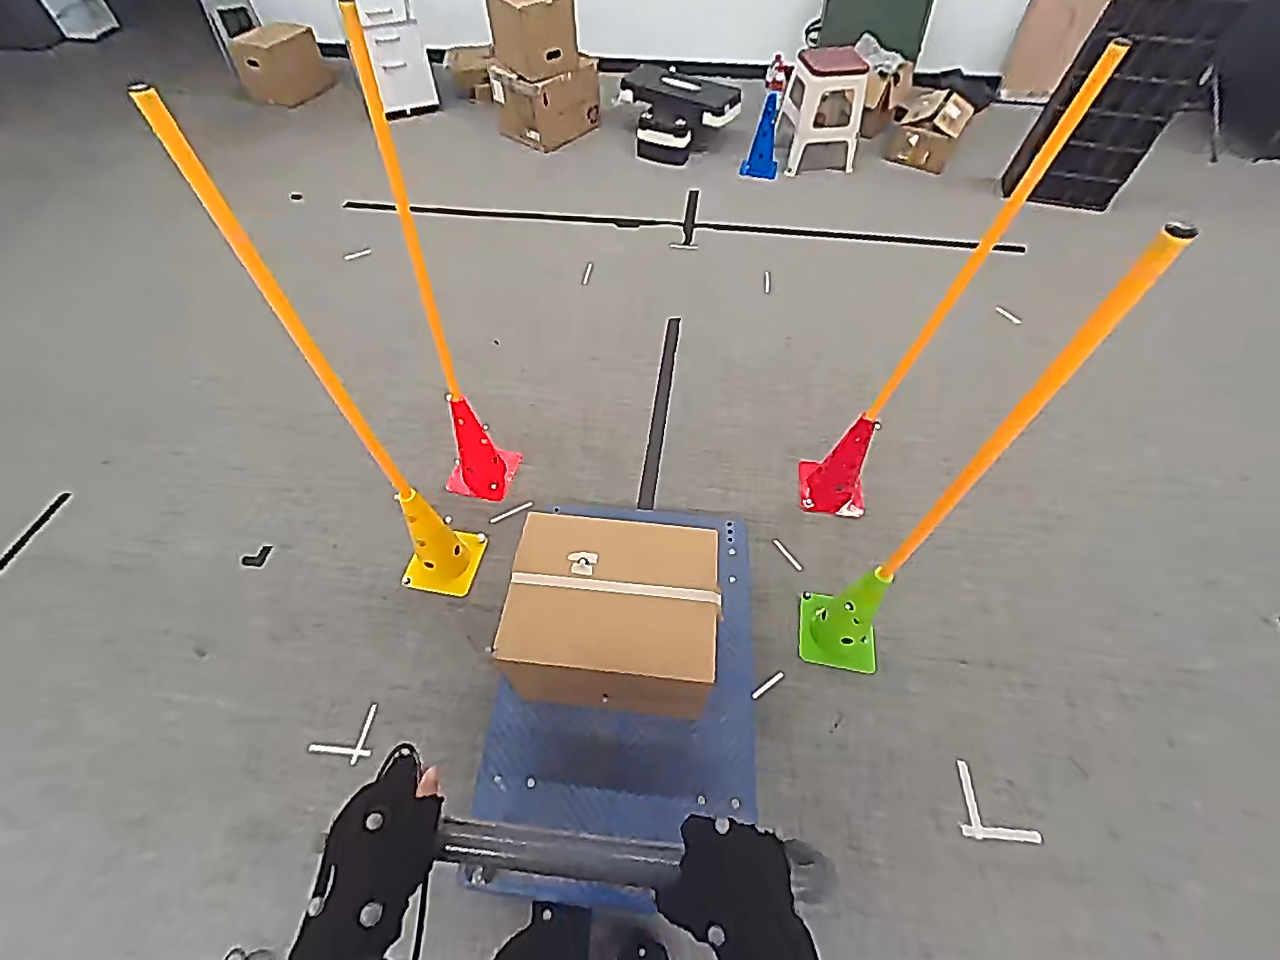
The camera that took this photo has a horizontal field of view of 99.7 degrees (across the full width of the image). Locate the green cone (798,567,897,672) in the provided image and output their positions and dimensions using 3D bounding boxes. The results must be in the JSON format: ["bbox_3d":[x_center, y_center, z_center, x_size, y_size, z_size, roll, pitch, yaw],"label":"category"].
[{"bbox_3d":[0.543,0.316,1.348,0.202,0.368,0.200,10,55,5],"label":"green cone"}]

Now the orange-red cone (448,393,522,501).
[{"bbox_3d":[-0.506,-0.129,1.652,0.198,0.360,0.199,13,54,7],"label":"orange-red cone"}]

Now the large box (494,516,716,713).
[{"bbox_3d":[-0.051,0.300,1.176,0.408,0.320,0.320,5,55,4],"label":"large box"}]

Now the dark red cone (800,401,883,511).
[{"bbox_3d":[0.627,-0.084,1.610,0.201,0.394,0.202,8,55,2],"label":"dark red cone"}]
